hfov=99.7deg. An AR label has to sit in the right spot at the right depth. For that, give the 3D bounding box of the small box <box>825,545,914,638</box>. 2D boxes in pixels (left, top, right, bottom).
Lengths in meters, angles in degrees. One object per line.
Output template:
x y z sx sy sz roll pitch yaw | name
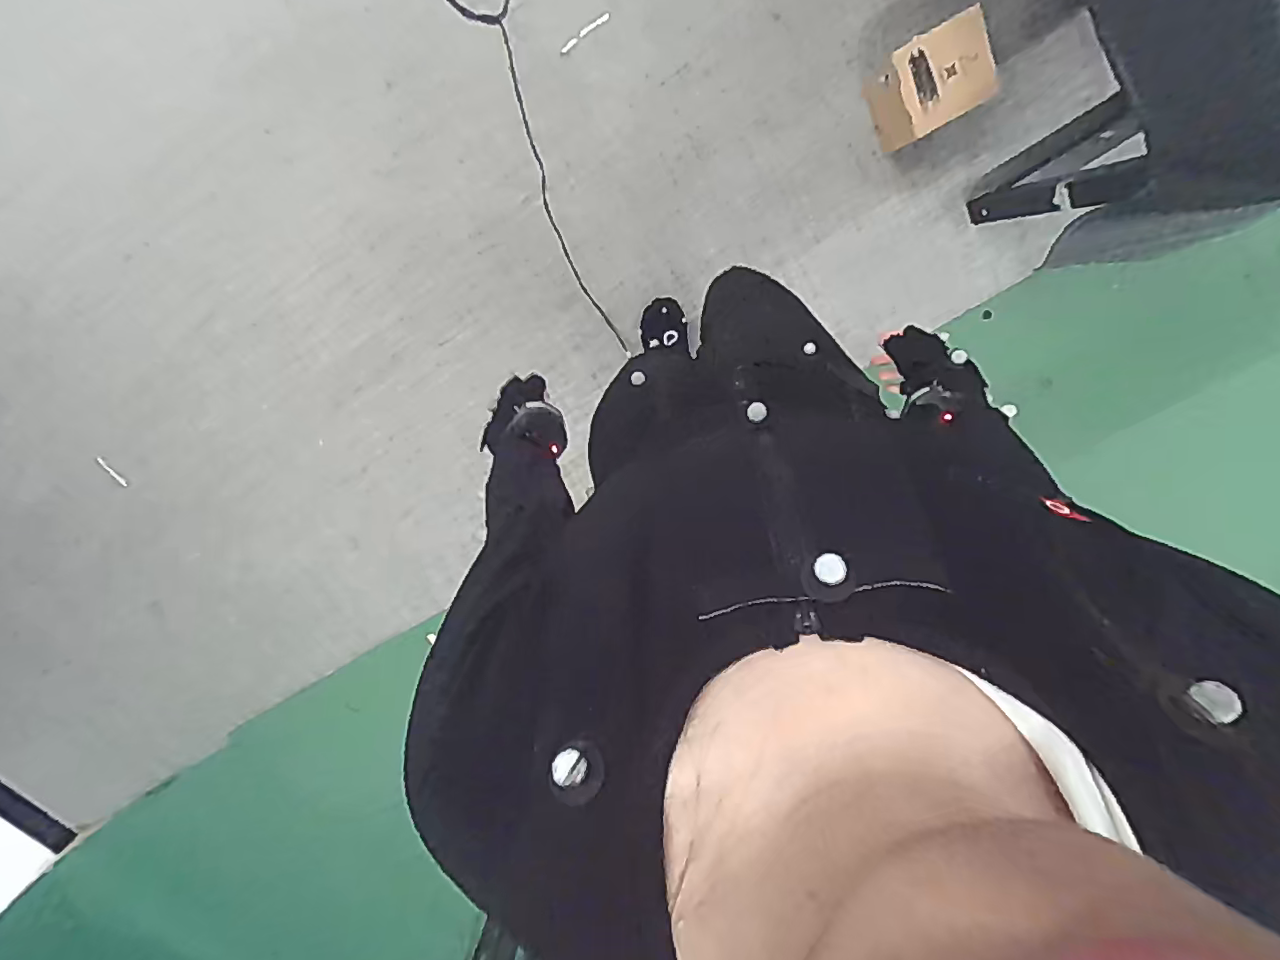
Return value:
0.655 0.316 1.556 0.168 0.176 0.179 -20 108 7 | small box
